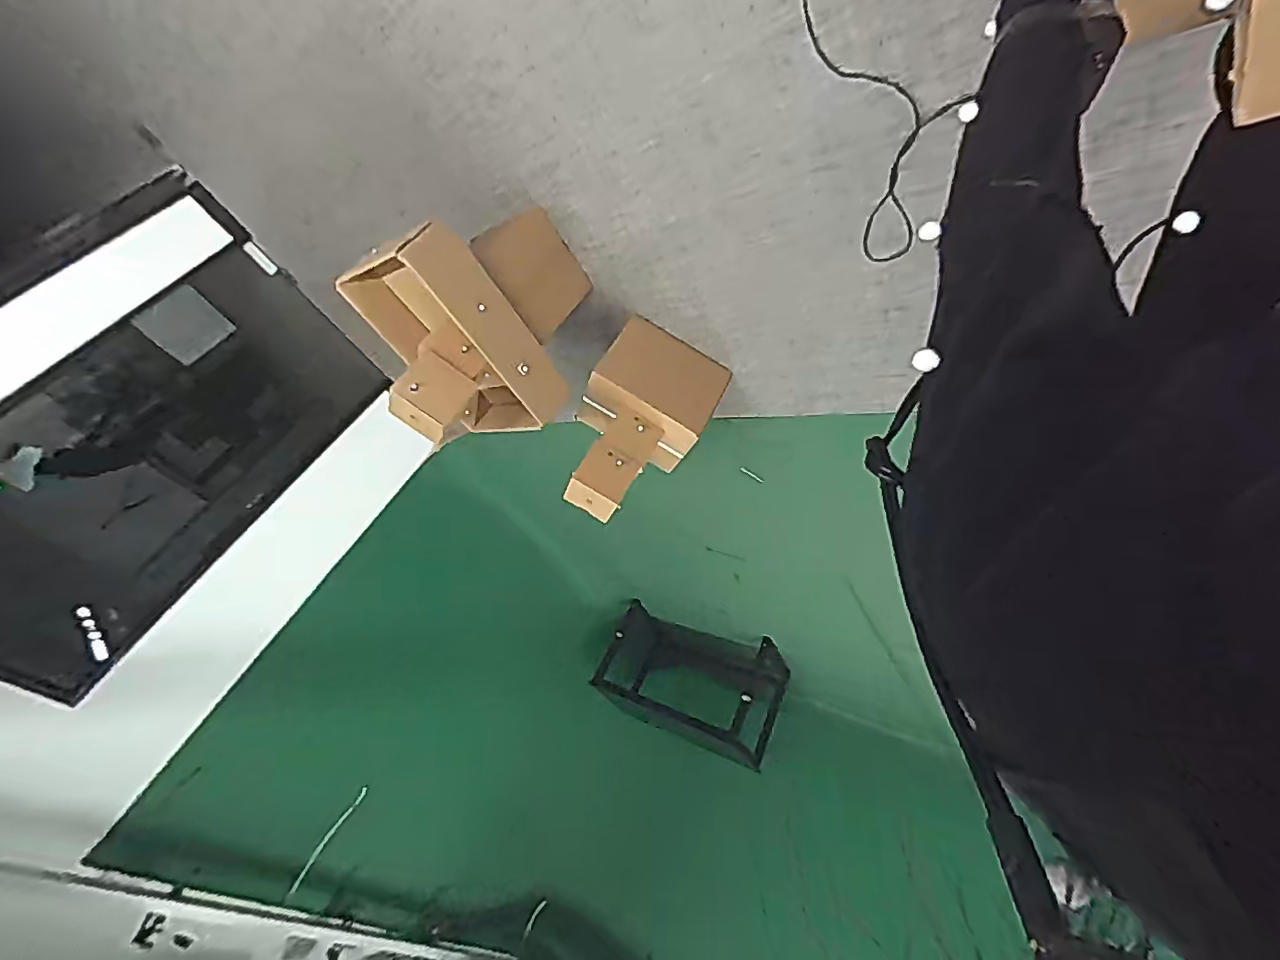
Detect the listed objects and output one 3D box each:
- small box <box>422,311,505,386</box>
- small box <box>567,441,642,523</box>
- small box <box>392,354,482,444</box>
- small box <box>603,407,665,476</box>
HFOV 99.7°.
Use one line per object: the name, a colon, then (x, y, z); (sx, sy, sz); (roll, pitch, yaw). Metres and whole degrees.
small box: (-0.540, -0.379, 1.652); (0.179, 0.176, 0.168); (36, 150, -11)
small box: (-0.113, 0.007, 1.731); (0.168, 0.176, 0.179); (32, 151, -2)
small box: (-0.591, -0.242, 1.572); (0.179, 0.176, 0.168); (37, 152, -12)
small box: (-0.037, -0.111, 1.814); (0.168, 0.176, 0.179); (33, 151, -5)
